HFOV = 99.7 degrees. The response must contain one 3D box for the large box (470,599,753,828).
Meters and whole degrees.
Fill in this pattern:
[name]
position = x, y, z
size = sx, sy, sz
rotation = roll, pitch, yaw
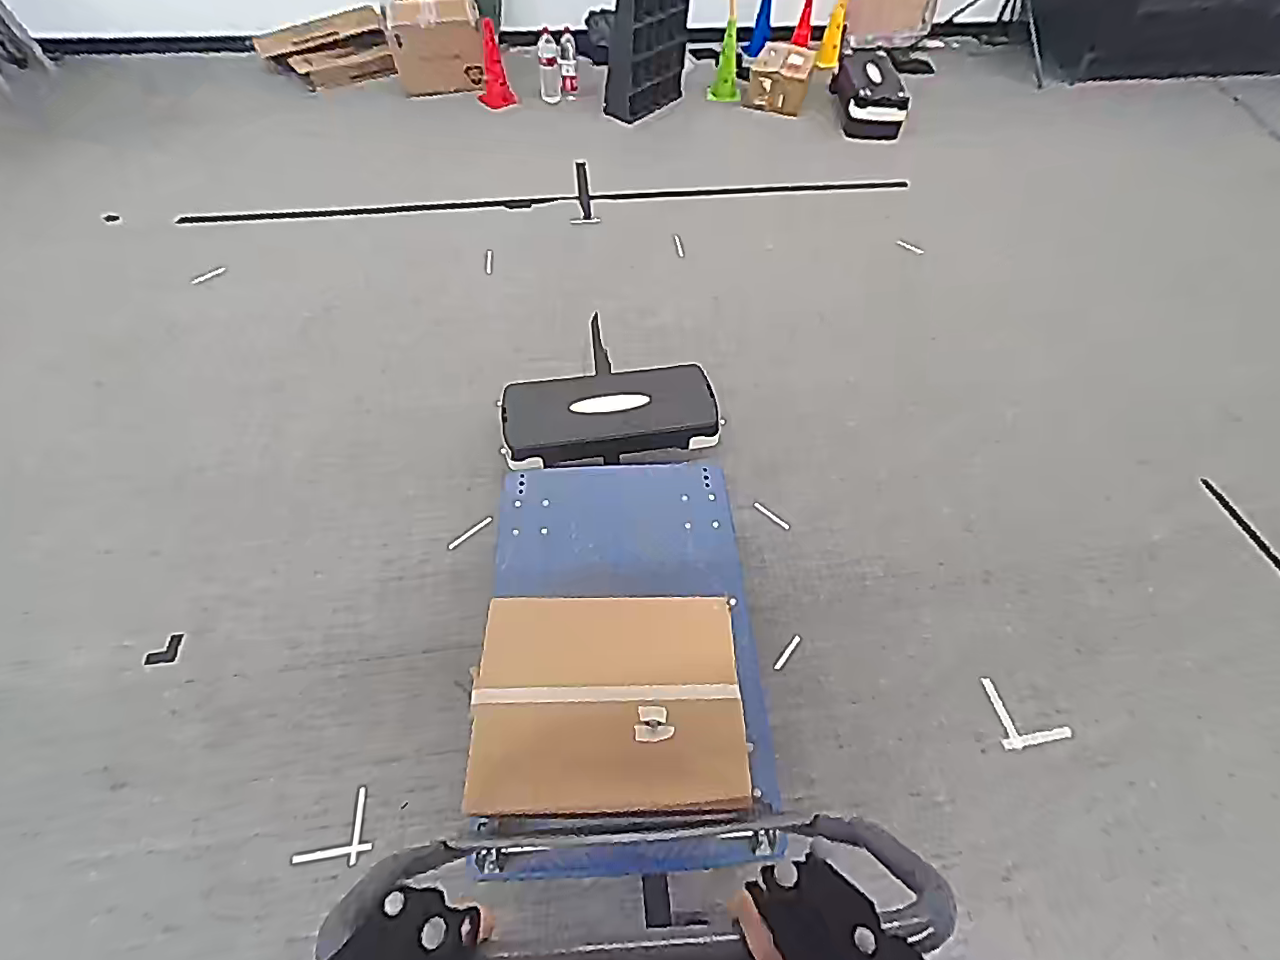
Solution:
[large box]
position = -0.050, 0.417, 0.953
size = 0.408, 0.320, 0.320
rotation = 0, 56, -3
